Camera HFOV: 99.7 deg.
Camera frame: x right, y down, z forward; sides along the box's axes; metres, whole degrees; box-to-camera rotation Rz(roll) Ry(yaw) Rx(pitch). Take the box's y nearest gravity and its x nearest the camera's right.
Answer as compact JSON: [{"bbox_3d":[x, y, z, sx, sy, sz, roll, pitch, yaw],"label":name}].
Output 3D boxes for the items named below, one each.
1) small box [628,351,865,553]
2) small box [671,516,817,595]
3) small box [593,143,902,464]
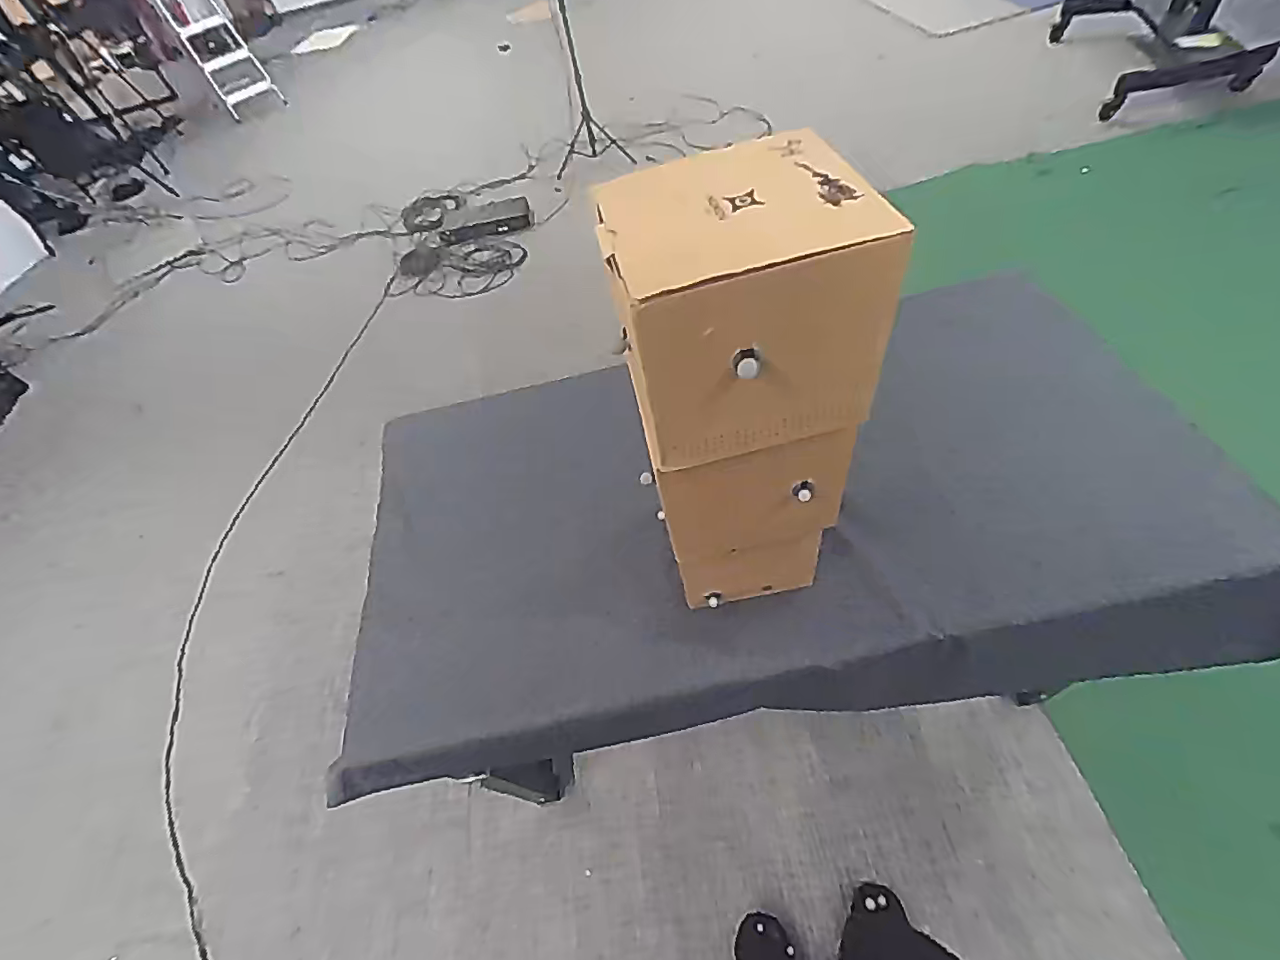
[{"bbox_3d":[0.097,-0.050,0.555,0.179,0.176,0.168,-16,53,-1],"label":"small box"},{"bbox_3d":[0.121,0.037,0.709,0.168,0.176,0.179,-11,53,3],"label":"small box"},{"bbox_3d":[0.076,-0.136,0.440,0.179,0.176,0.168,-16,51,-2],"label":"small box"}]
